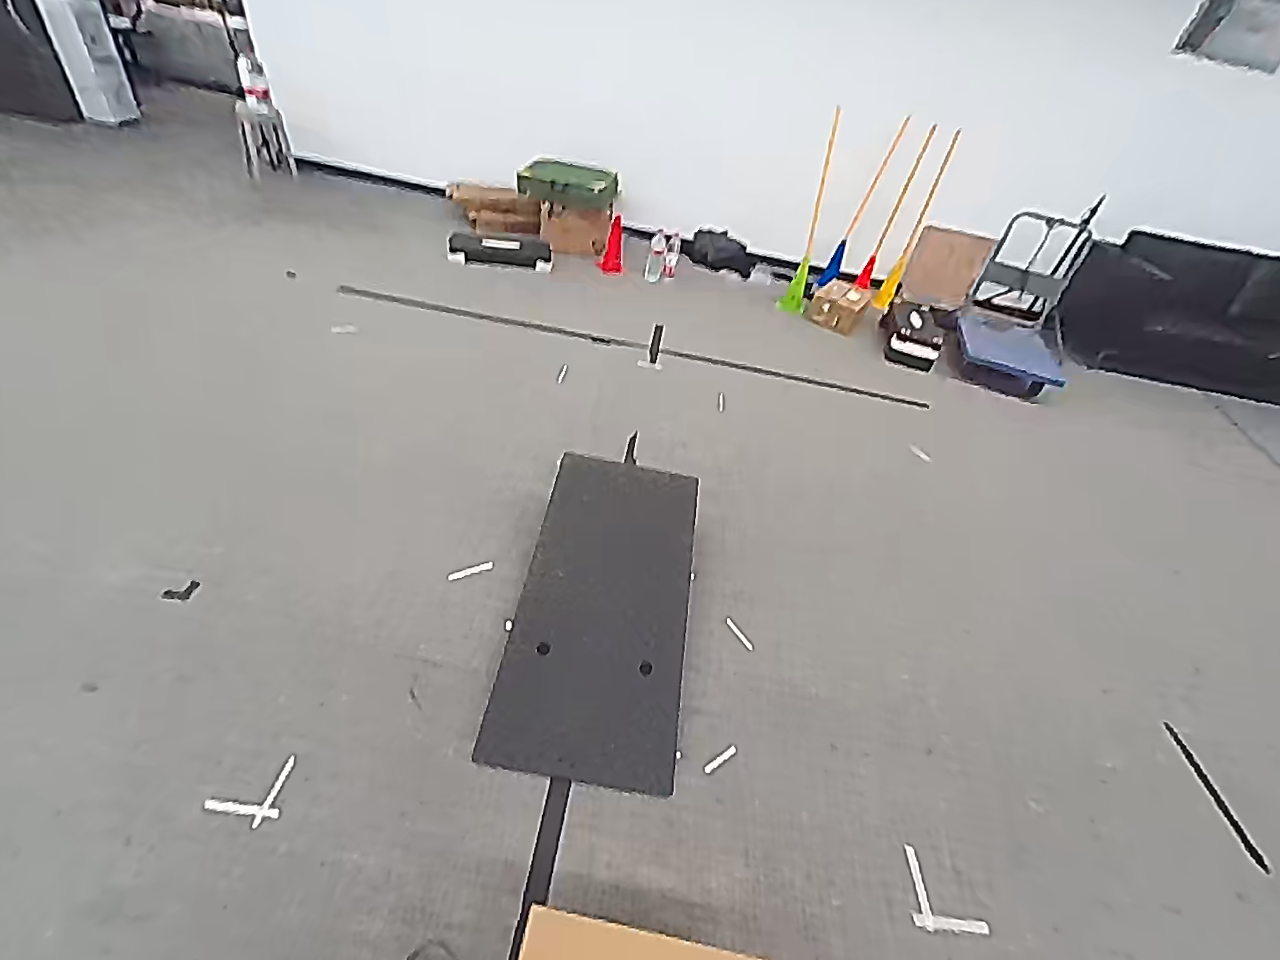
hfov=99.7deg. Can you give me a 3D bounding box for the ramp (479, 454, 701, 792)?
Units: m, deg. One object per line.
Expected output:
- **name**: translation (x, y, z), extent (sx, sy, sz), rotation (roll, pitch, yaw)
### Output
- **ramp**: translation (-0.085, 0.336, 1.617), extent (0.509, 0.206, 0.991), rotation (11, 40, -3)

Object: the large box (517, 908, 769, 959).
- **large box**: translation (-0.028, 0.933, 0.841), extent (0.408, 0.320, 0.320), rotation (14, 40, 0)
